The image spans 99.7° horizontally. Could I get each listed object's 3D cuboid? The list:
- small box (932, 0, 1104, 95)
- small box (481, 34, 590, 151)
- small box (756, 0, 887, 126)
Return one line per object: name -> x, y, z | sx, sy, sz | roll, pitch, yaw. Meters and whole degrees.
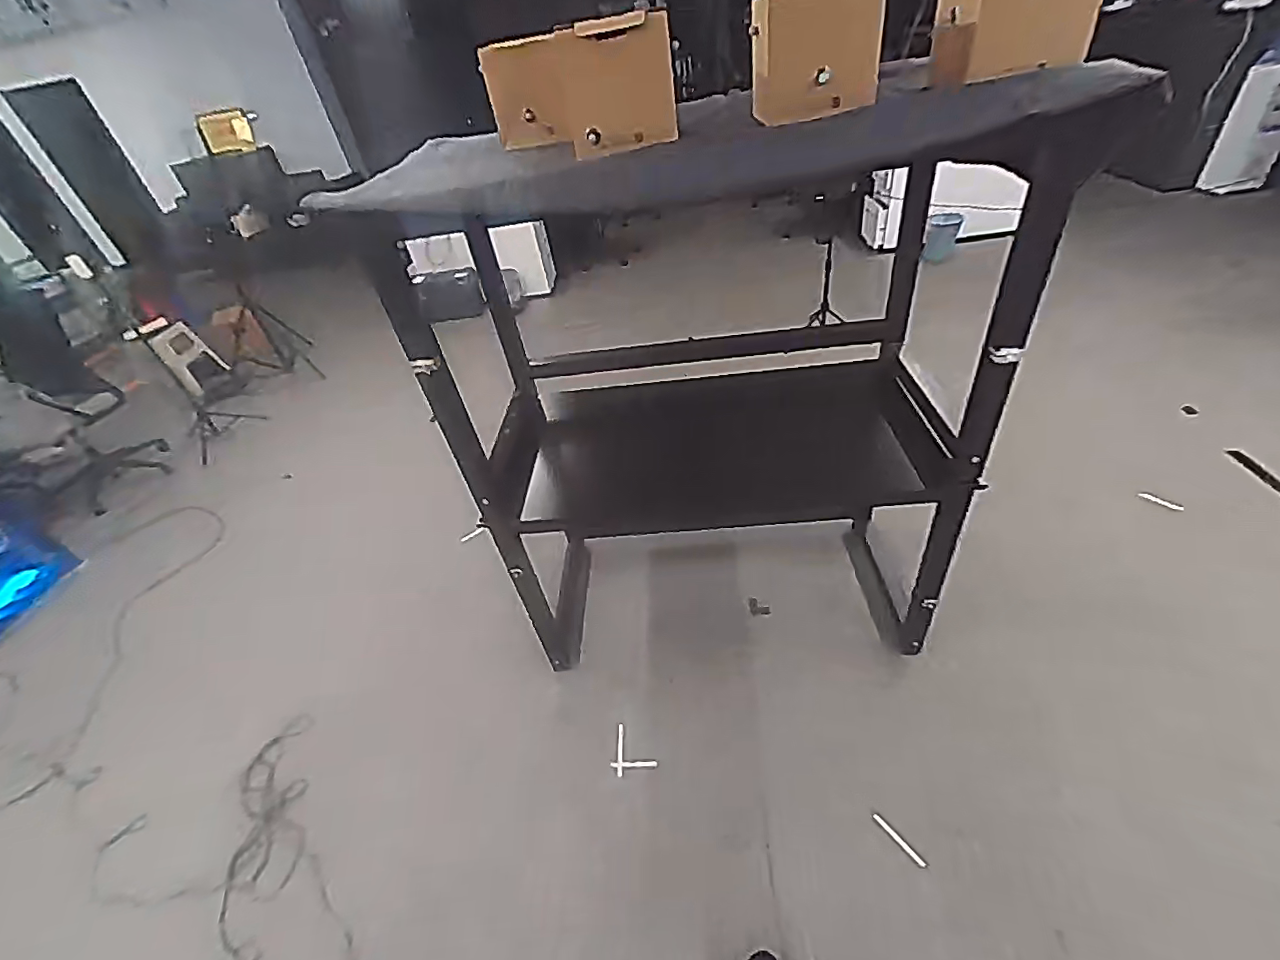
small box -> 0.575, -0.711, 0.834 | 0.168, 0.176, 0.179 | -5, 39, 8
small box -> -0.201, -0.783, 1.097 | 0.168, 0.176, 0.179 | -6, 41, 5
small box -> 0.278, -0.684, 0.868 | 0.168, 0.176, 0.179 | -6, 39, 7
